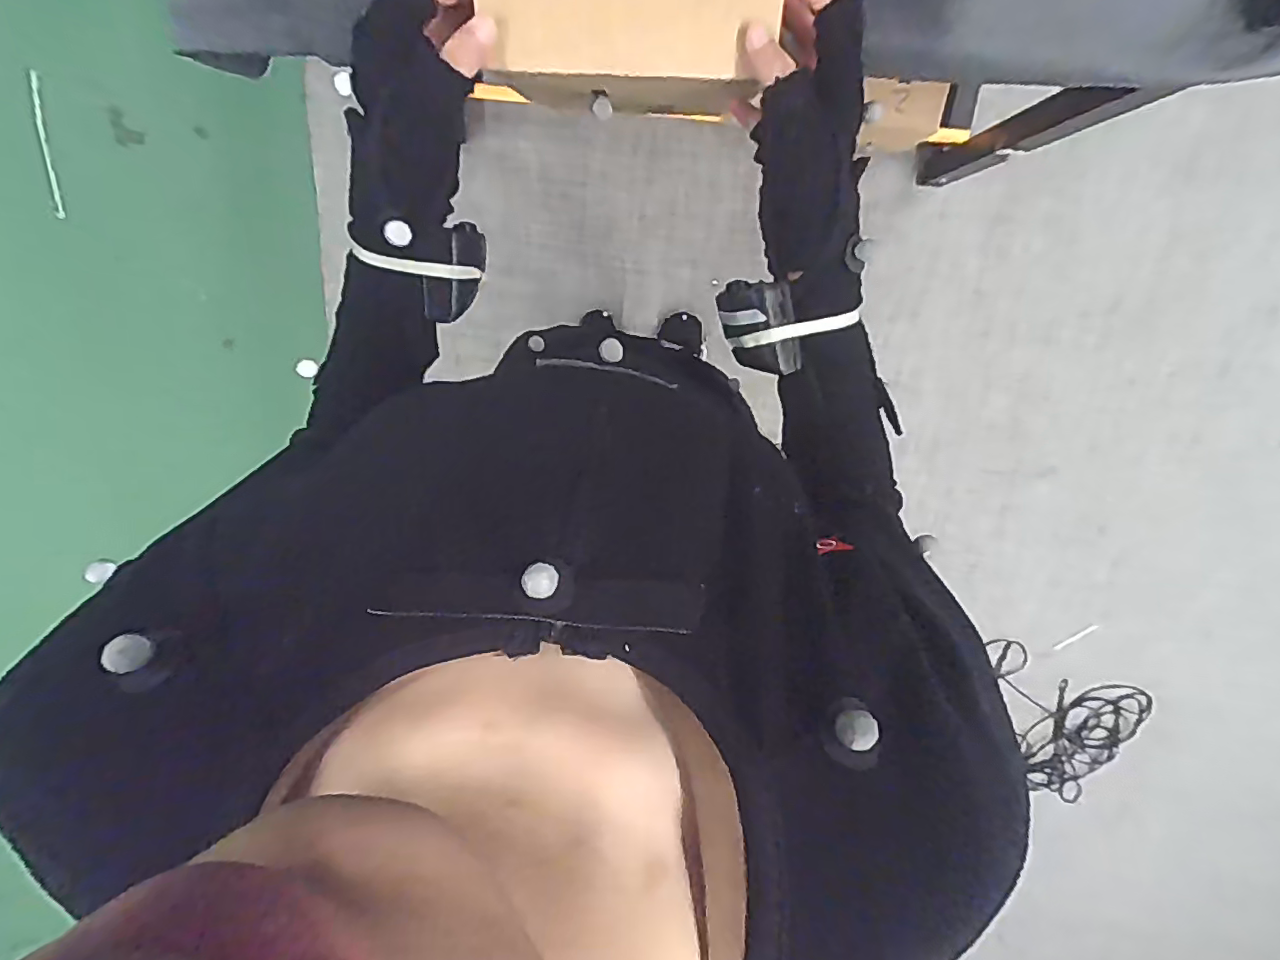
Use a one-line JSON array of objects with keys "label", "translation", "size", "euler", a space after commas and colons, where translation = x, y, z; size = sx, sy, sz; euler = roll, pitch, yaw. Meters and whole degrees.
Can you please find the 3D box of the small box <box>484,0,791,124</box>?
[{"label": "small box", "translation": [0.005, -0.333, 0.332], "size": [0.168, 0.176, 0.179], "euler": [3, 116, 2]}]
